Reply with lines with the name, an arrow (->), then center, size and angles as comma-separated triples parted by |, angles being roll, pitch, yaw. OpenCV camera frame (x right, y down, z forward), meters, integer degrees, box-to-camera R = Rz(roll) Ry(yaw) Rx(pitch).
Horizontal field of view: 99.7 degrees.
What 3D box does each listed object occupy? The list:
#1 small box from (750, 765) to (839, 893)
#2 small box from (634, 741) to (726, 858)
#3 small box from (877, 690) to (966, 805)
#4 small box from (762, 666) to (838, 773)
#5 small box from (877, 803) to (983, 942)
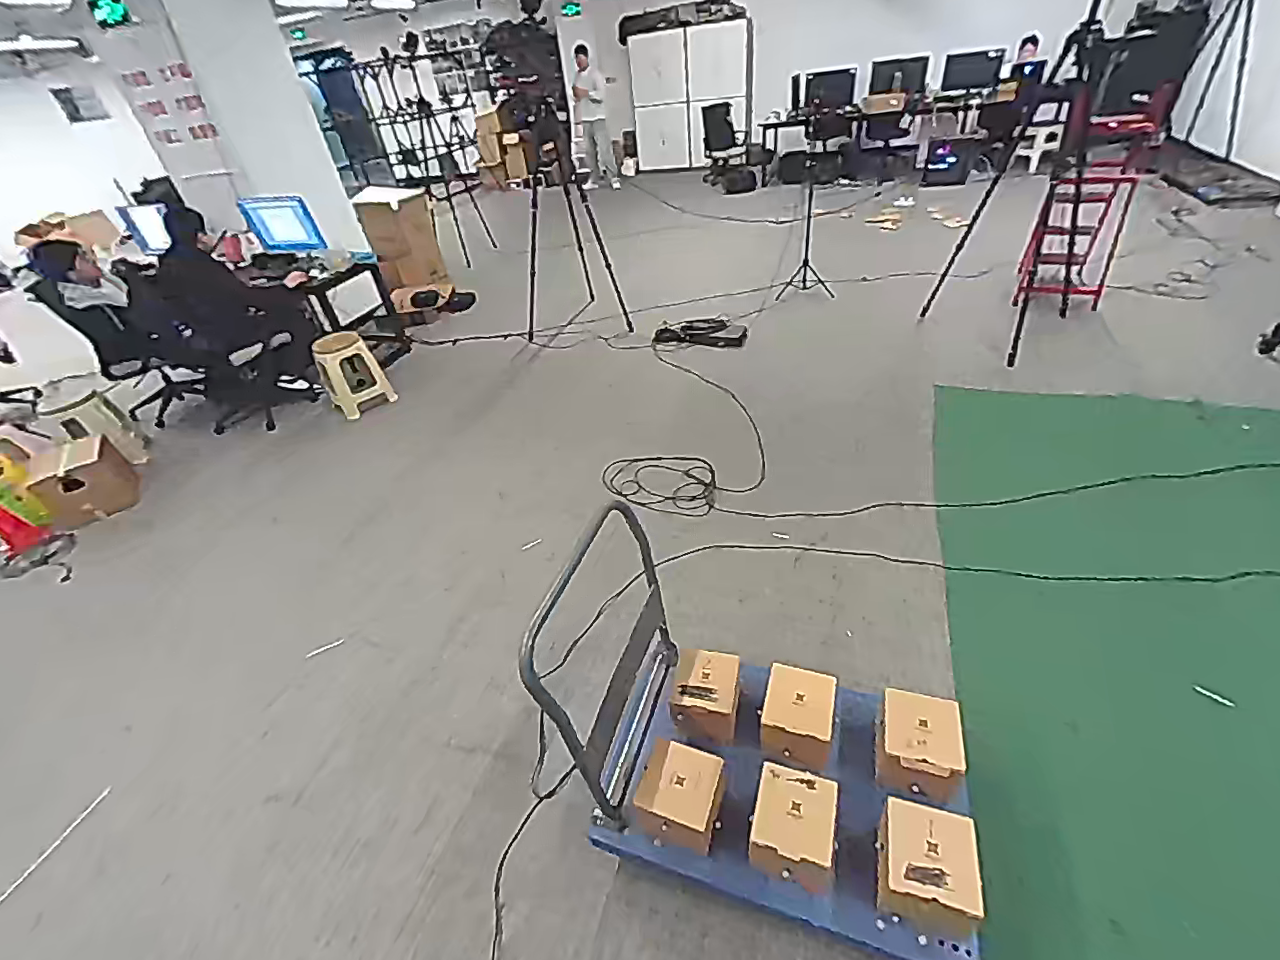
small box -> 0.350, 0.790, 1.222 | 0.168, 0.176, 0.179 | 8, 41, 20
small box -> 0.103, 0.770, 1.300 | 0.179, 0.176, 0.168 | 10, 42, 21
small box -> 0.681, 0.654, 1.327 | 0.168, 0.176, 0.179 | 6, 40, 20
small box -> 0.418, 0.627, 1.420 | 0.168, 0.176, 0.179 | 8, 42, 20
small box -> 0.603, 0.831, 1.144 | 0.168, 0.176, 0.179 | 7, 40, 19
